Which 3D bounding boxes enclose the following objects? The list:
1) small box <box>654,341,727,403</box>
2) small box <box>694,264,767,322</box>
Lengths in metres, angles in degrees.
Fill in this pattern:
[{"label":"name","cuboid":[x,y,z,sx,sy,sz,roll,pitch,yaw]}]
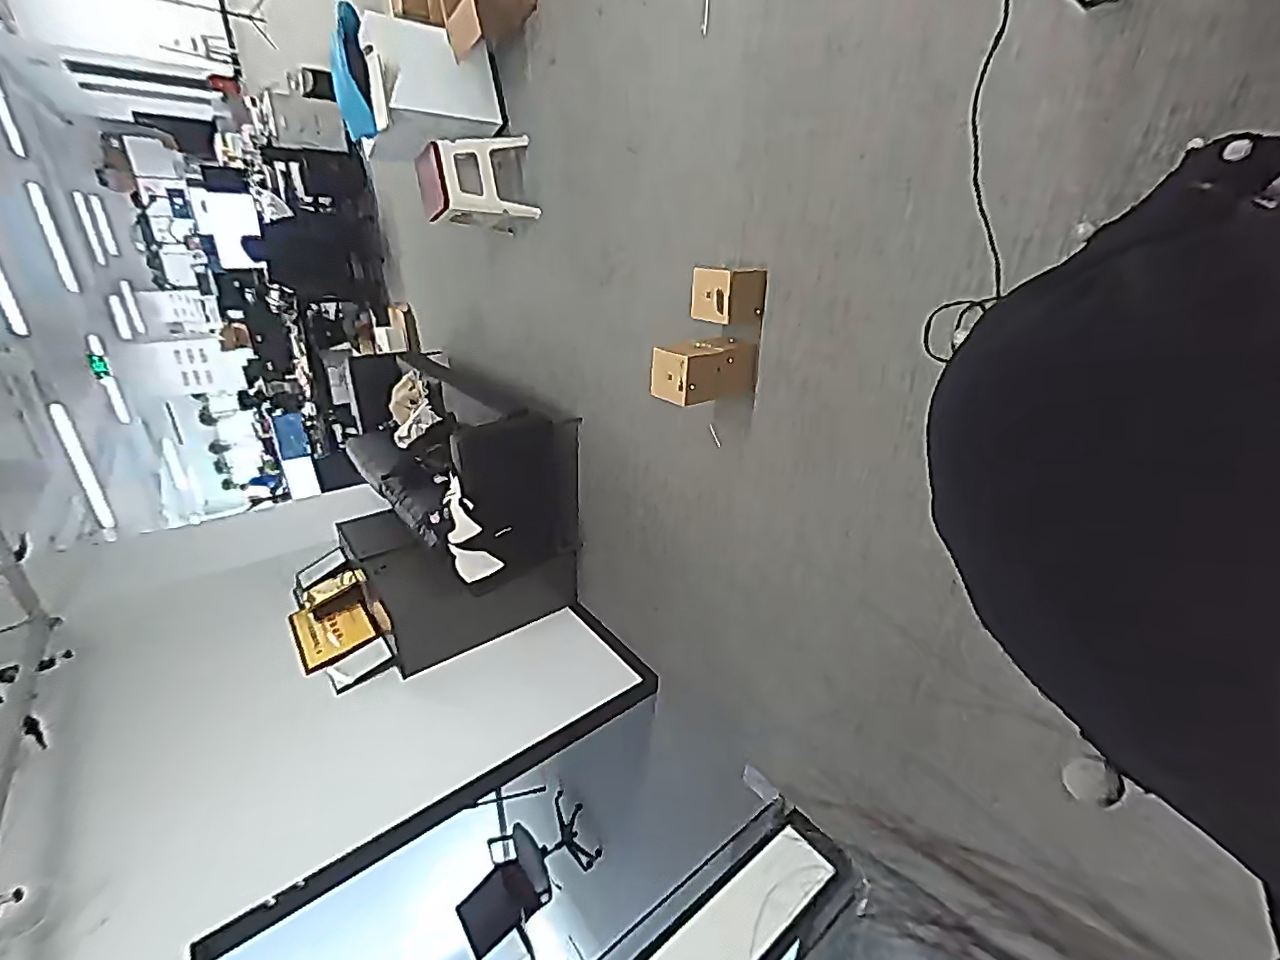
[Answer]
[{"label":"small box","cuboid":[0.169,-0.372,1.830,0.179,0.176,0.168,31,128,45]},{"label":"small box","cuboid":[0.305,-0.633,1.815,0.179,0.176,0.168,30,126,46]}]
